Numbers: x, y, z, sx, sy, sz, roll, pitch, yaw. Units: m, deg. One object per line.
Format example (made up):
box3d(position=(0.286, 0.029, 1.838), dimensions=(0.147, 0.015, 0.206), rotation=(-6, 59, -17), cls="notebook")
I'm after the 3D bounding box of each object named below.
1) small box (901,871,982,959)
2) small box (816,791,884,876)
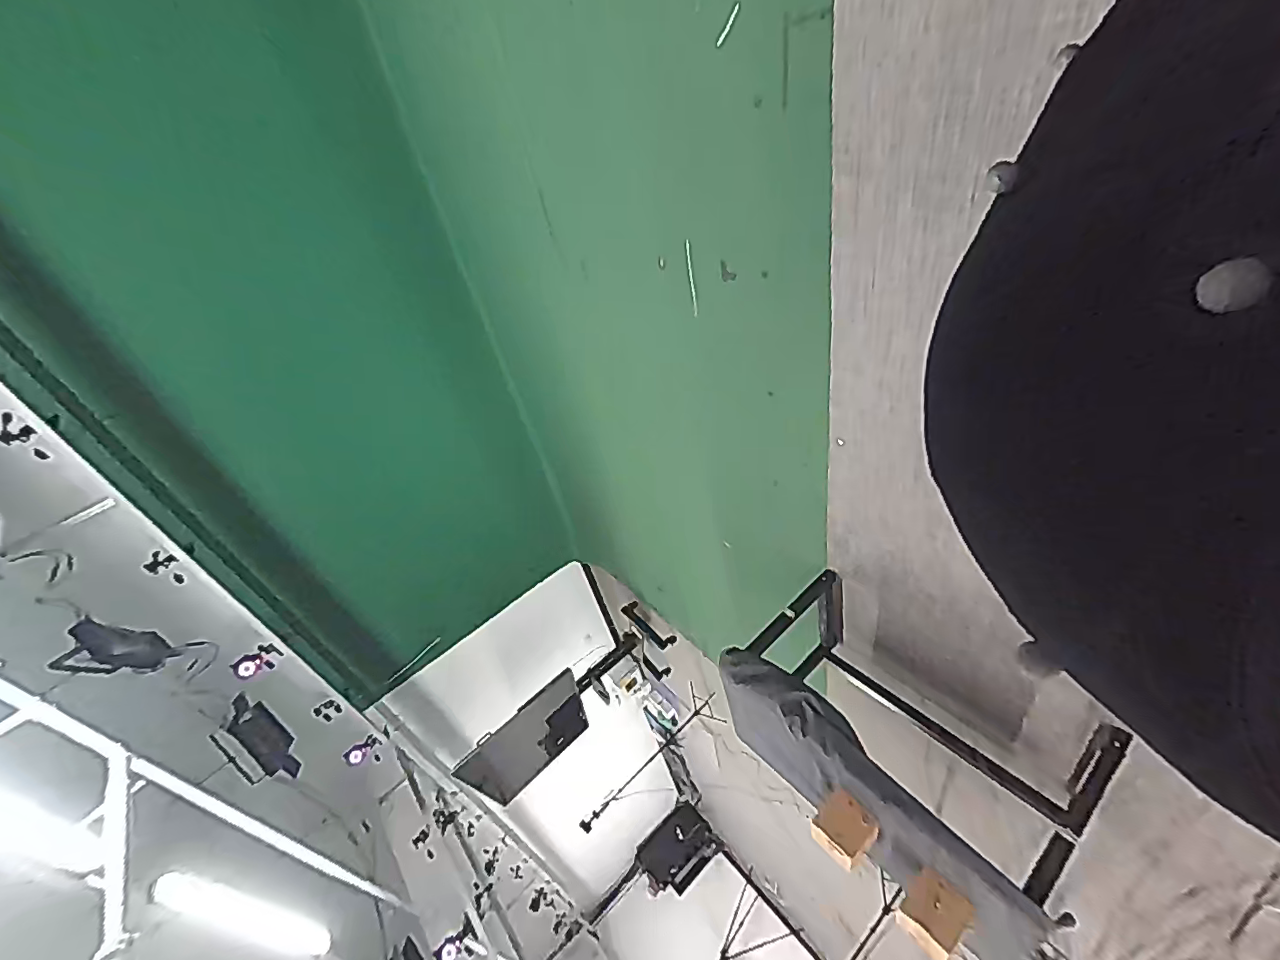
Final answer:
box3d(position=(0.965, 1.407, 1.733), dimensions=(0.168, 0.176, 0.179), rotation=(30, 146, 46), cls="small box")
box3d(position=(0.757, 1.268, 1.949), dimensions=(0.168, 0.176, 0.179), rotation=(32, 149, 43), cls="small box")
